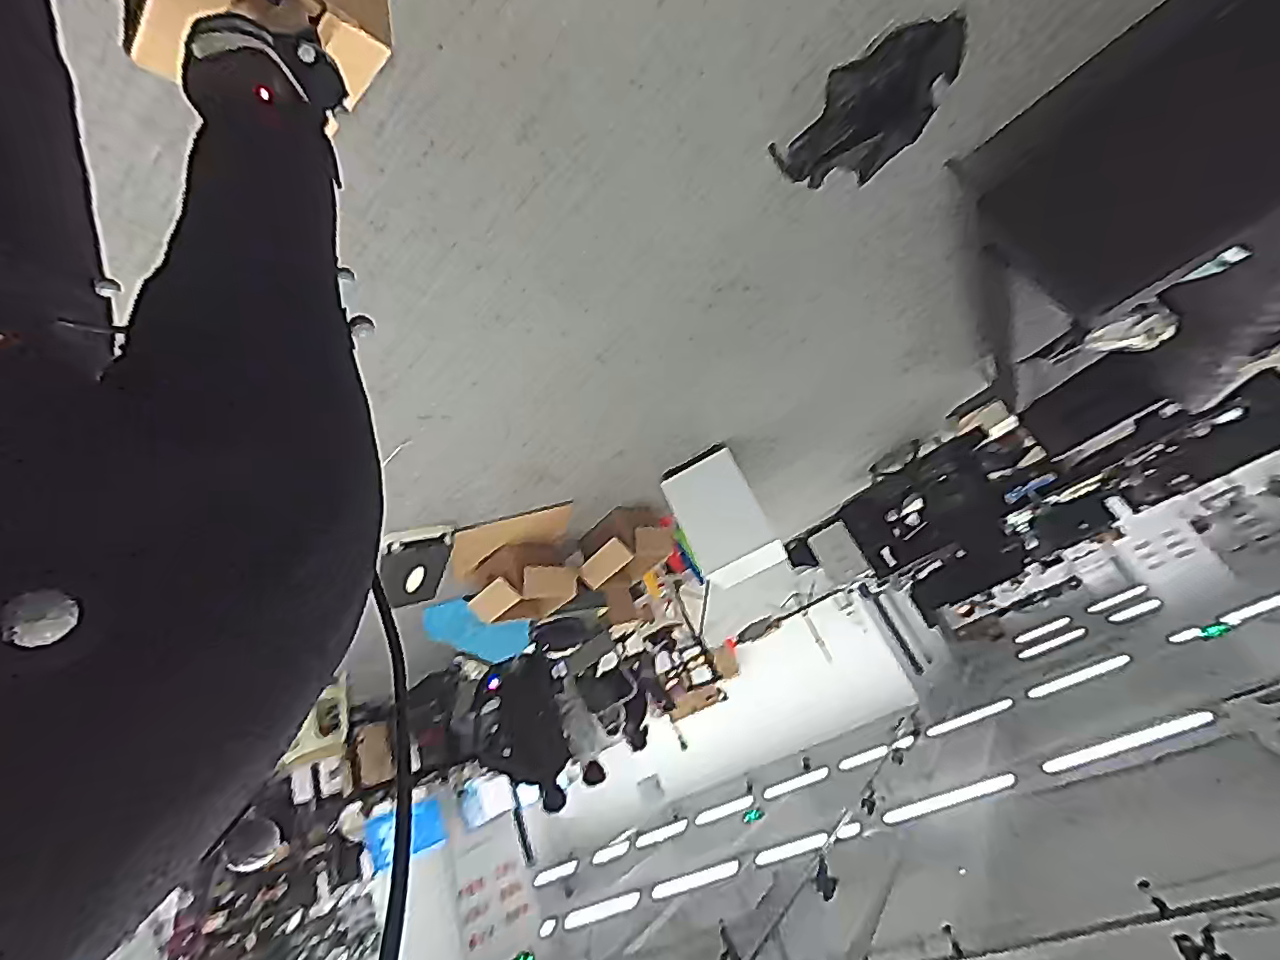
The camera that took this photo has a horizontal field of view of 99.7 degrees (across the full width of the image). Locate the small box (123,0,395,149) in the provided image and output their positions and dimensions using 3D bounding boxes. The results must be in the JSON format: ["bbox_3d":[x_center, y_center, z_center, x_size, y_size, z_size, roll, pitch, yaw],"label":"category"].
[{"bbox_3d":[-0.360,-0.471,0.512,0.176,0.179,0.168,-16,169,35],"label":"small box"}]
